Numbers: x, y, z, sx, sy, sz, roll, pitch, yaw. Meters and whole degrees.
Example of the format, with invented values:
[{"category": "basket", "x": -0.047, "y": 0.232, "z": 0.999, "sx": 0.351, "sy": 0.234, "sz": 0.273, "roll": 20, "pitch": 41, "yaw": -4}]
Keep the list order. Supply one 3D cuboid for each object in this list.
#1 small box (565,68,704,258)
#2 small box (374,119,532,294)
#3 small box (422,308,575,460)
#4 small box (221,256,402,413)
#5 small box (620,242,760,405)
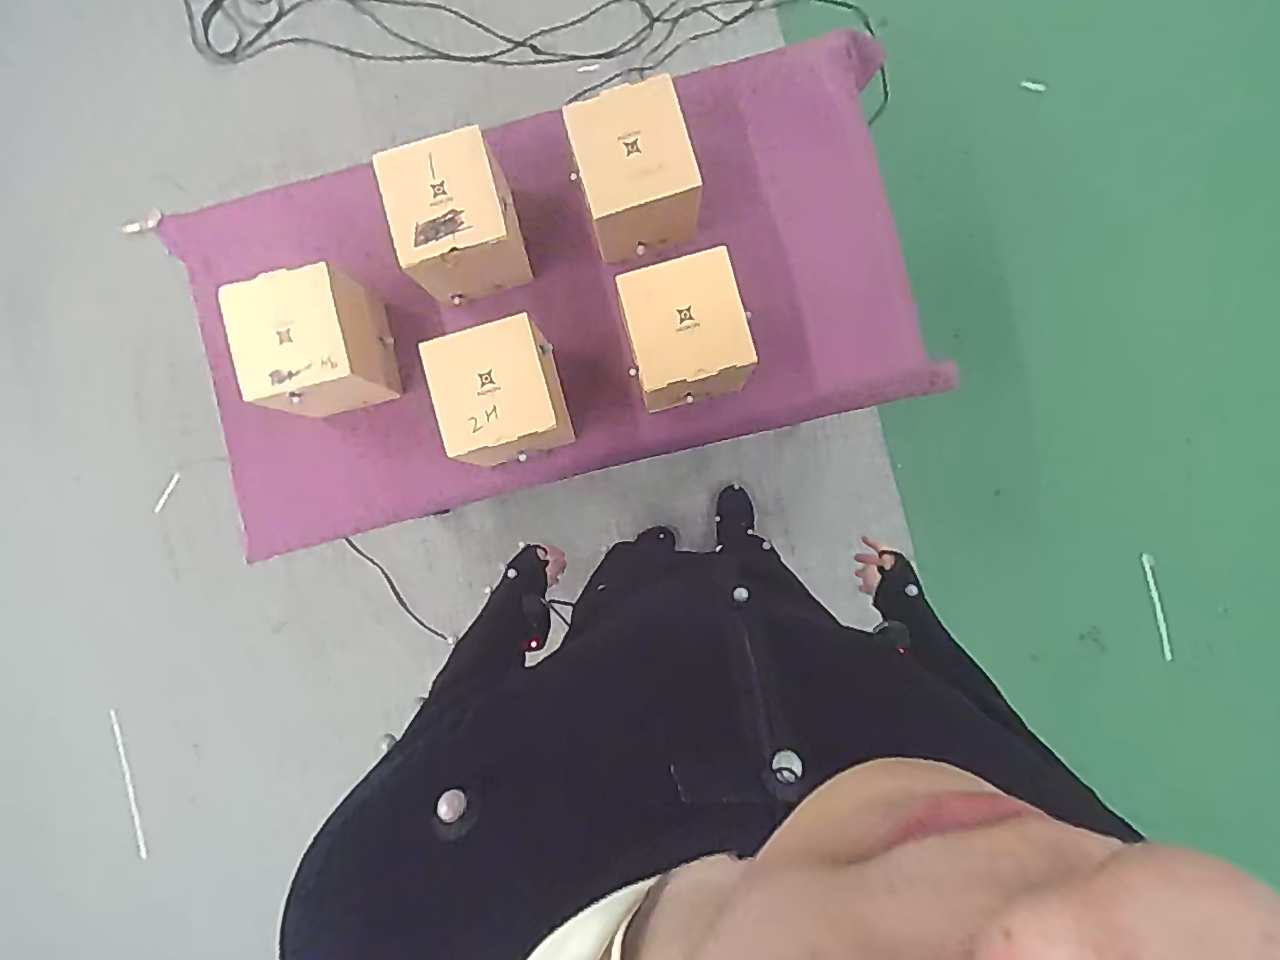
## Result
[{"category": "small box", "x": -0.007, "y": -0.484, "z": 0.851, "sx": 0.168, "sy": 0.176, "sz": 0.179, "roll": -16, "pitch": 89, "yaw": 2}, {"category": "small box", "x": -0.283, "y": -0.414, "z": 0.856, "sx": 0.168, "sy": 0.176, "sz": 0.179, "roll": -15, "pitch": 88, "yaw": 1}, {"category": "small box", "x": -0.211, "y": -0.139, "z": 0.845, "sx": 0.168, "sy": 0.176, "sz": 0.179, "roll": -16, "pitch": 87, "yaw": 2}, {"category": "small box", "x": -0.506, "y": -0.219, "z": 0.856, "sx": 0.168, "sy": 0.176, "sz": 0.179, "roll": -14, "pitch": 88, "yaw": 3}, {"category": "small box", "x": 0.071, "y": -0.232, "z": 0.841, "sx": 0.168, "sy": 0.176, "sz": 0.179, "roll": -15, "pitch": 88, "yaw": 1}]
